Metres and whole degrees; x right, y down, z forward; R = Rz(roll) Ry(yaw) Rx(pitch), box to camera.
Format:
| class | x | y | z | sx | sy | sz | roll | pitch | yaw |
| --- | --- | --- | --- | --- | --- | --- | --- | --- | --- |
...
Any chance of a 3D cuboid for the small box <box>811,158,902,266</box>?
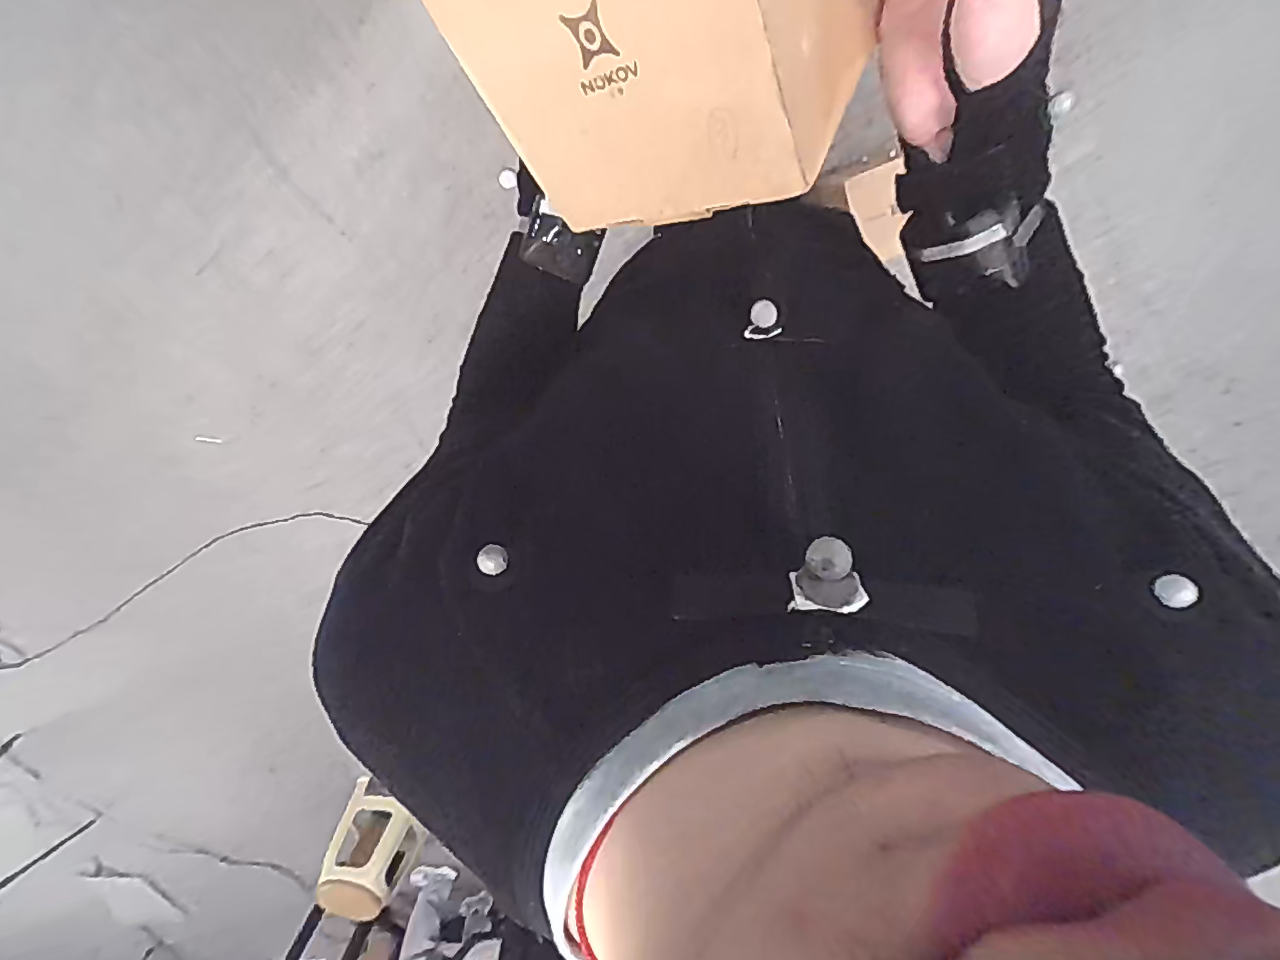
| class | x | y | z | sx | sy | sz | roll | pitch | yaw |
| --- | --- | --- | --- | --- | --- | --- | --- | --- | --- |
| small box | 0.503 | -0.616 | 1.244 | 0.179 | 0.176 | 0.168 | -18 | 114 | 16 |

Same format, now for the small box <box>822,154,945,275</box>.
| class | x | y | z | sx | sy | sz | roll | pitch | yaw |
| --- | --- | --- | --- | --- | --- | --- | --- | --- | --- |
| small box | 0.488 | -0.538 | 1.100 | 0.179 | 0.176 | 0.168 | -17 | 114 | 15 |

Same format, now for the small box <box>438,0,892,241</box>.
| class | x | y | z | sx | sy | sz | roll | pitch | yaw |
| --- | --- | --- | --- | --- | --- | --- | --- | --- | --- |
| small box | 0.025 | -0.266 | 0.293 | 0.168 | 0.176 | 0.179 | 10 | 155 | 36 |
